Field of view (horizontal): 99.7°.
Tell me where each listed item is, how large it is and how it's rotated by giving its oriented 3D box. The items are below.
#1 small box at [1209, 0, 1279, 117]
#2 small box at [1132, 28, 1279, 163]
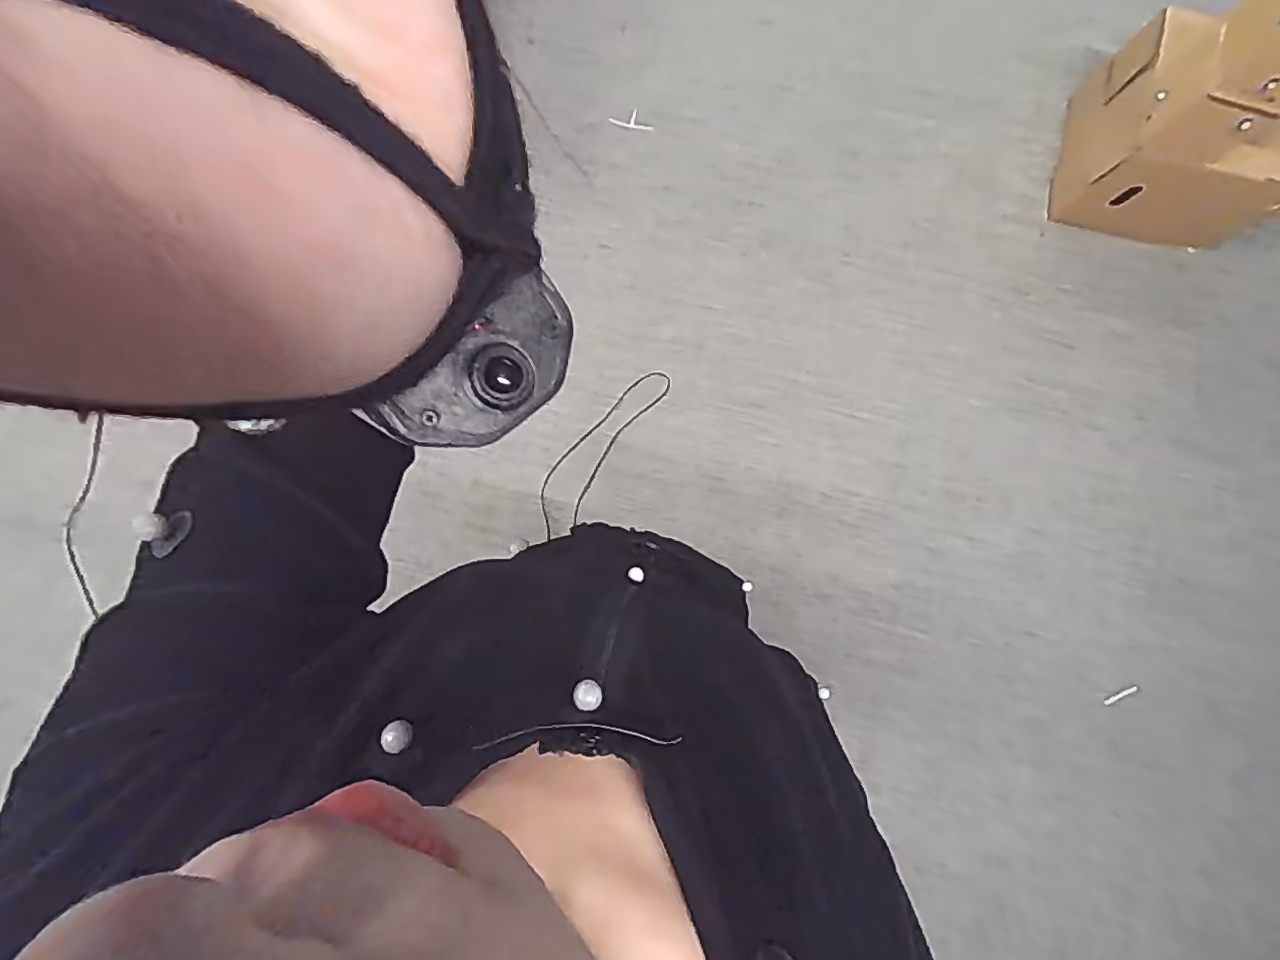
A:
[{"bbox_3d":[1.295,-0.874,1.067,0.168,0.176,0.179,17,86,1],"label":"small box"},{"bbox_3d":[1.292,-0.862,1.229,0.179,0.176,0.168,16,84,1],"label":"small box"}]
